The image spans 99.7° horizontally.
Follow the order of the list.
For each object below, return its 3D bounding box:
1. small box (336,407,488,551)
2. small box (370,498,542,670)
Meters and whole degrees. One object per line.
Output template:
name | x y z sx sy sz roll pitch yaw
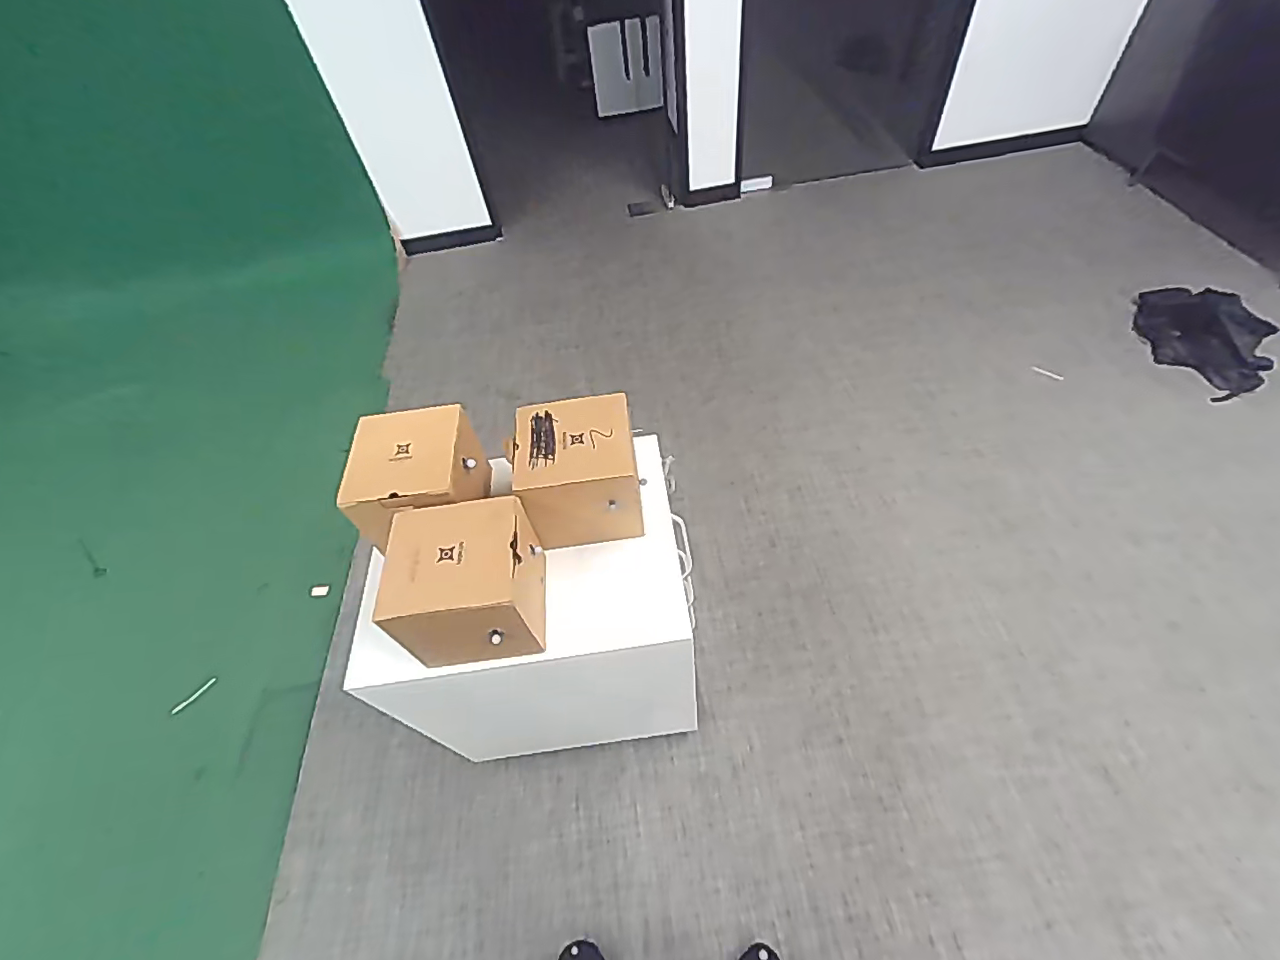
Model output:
small box | -0.352 0.008 0.876 0.168 0.176 0.179 -8 53 -1
small box | -0.238 0.149 0.756 0.179 0.176 0.168 -9 50 0
